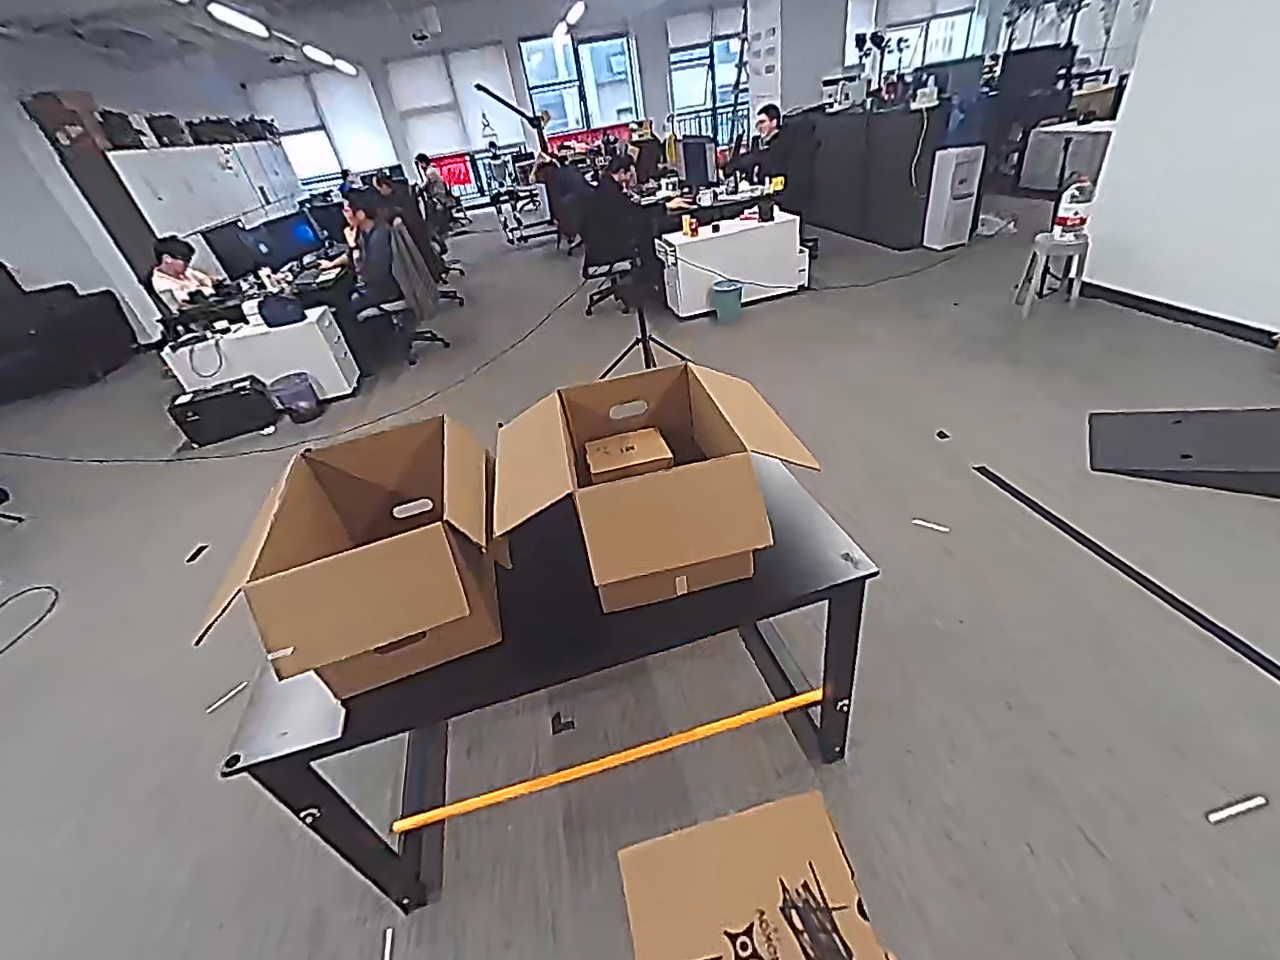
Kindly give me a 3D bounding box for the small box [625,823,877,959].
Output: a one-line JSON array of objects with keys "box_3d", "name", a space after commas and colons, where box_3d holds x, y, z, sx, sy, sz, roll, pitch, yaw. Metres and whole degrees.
[{"box_3d": [0.097, 0.415, 0.450, 0.179, 0.176, 0.168, -15, 46, -3], "name": "small box"}]
